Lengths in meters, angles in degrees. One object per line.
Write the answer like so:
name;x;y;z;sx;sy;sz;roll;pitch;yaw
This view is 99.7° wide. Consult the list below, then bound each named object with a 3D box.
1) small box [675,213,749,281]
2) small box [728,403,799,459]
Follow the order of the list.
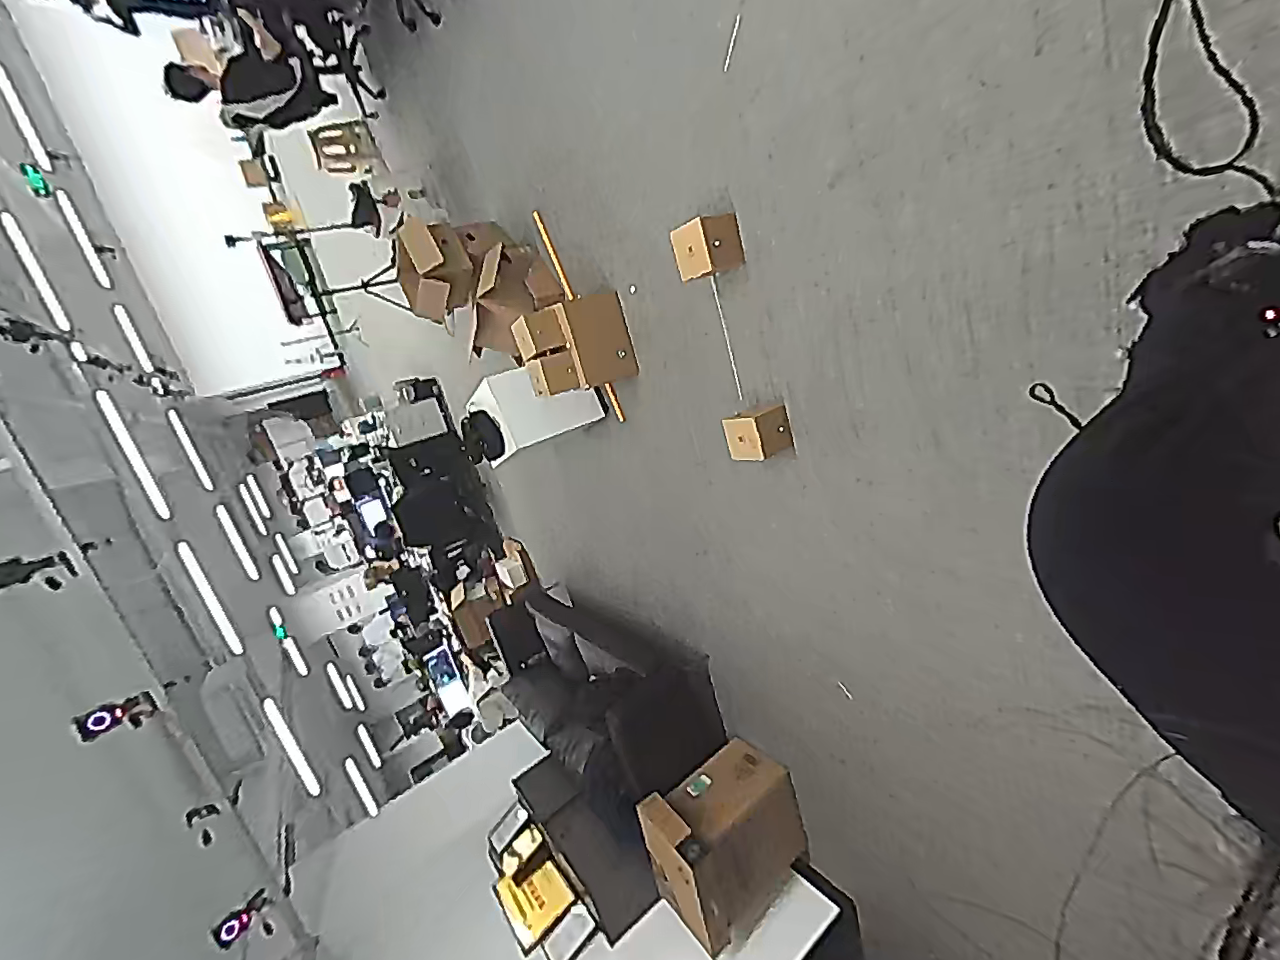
small box;0.254;-0.820;1.895;0.168;0.176;0.179;4;116;57
small box;0.469;-0.187;2.045;0.179;0.176;0.168;4;116;57
